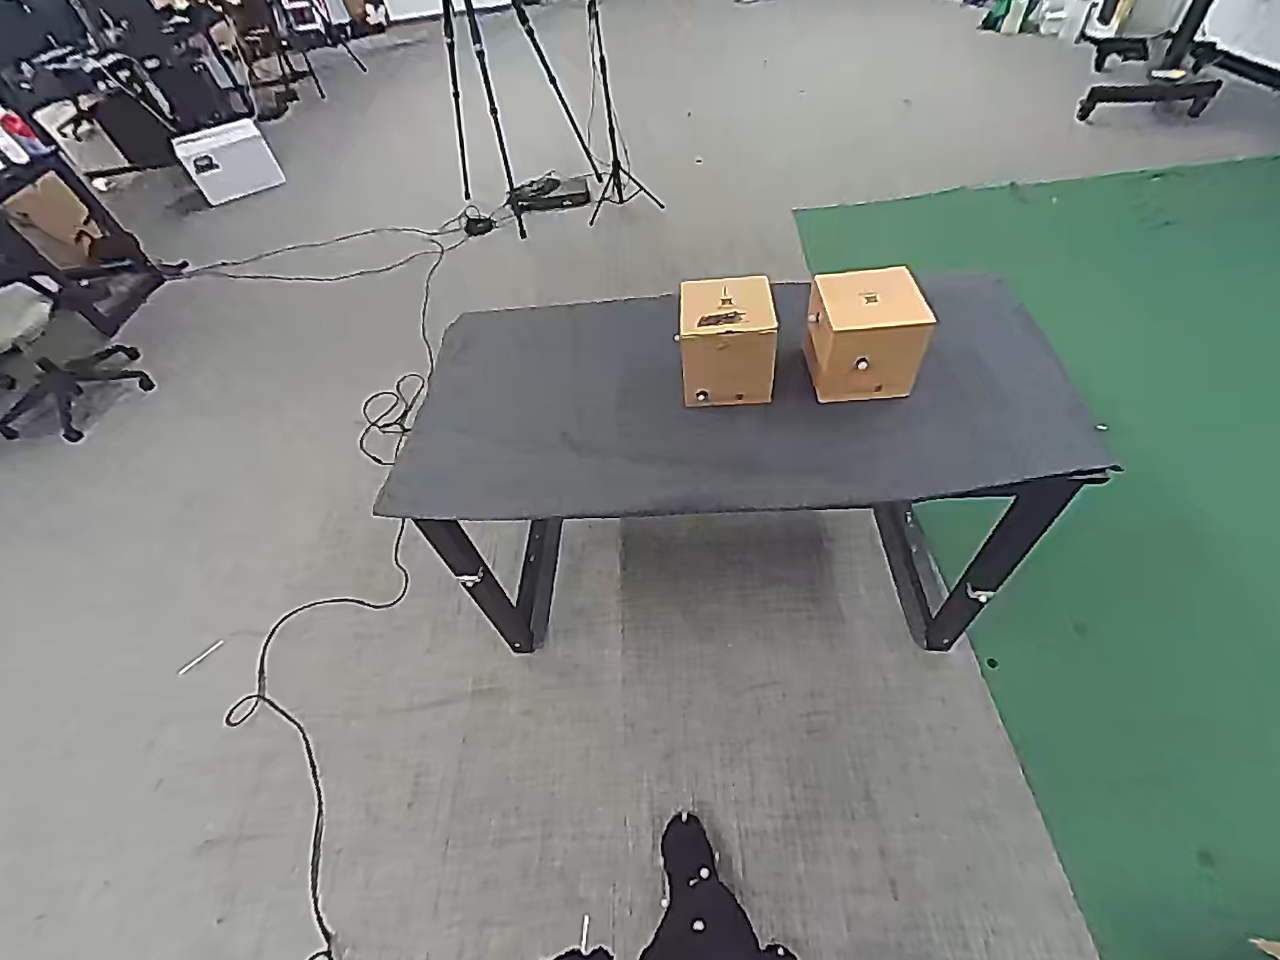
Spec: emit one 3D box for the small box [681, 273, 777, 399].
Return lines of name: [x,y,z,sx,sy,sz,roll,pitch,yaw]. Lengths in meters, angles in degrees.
small box: [0.167,-0.266,1.027,0.168,0.176,0.179,-2,50,7]

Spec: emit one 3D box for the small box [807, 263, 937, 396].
small box: [0.412,-0.268,0.993,0.168,0.176,0.179,-4,50,6]
